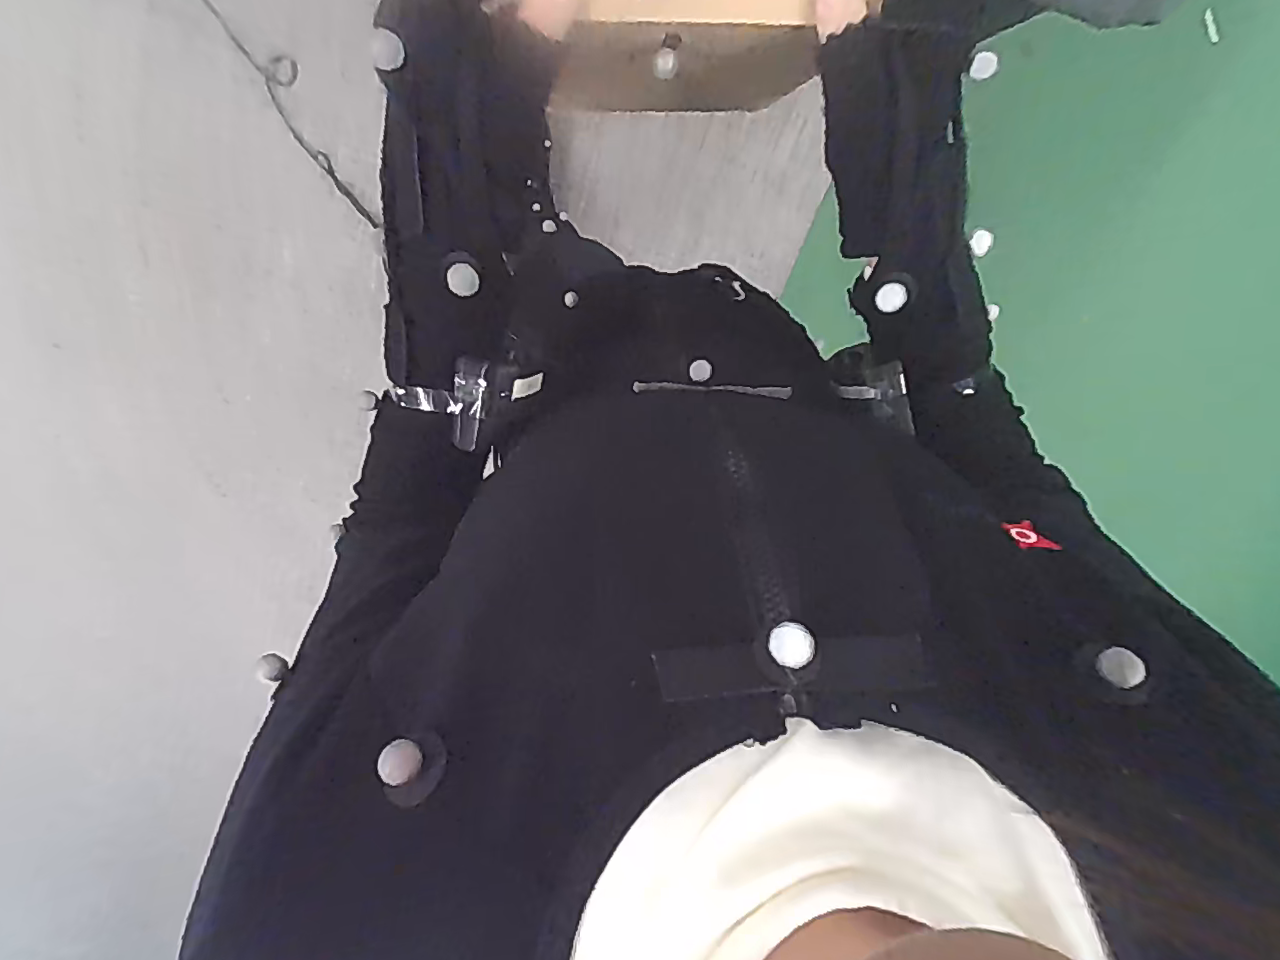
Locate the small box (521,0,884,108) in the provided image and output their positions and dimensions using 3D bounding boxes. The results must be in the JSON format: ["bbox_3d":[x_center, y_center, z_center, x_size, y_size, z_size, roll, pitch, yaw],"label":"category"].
[{"bbox_3d":[0.018,-0.317,0.276,0.168,0.176,0.179,-4,113,-7],"label":"small box"}]
